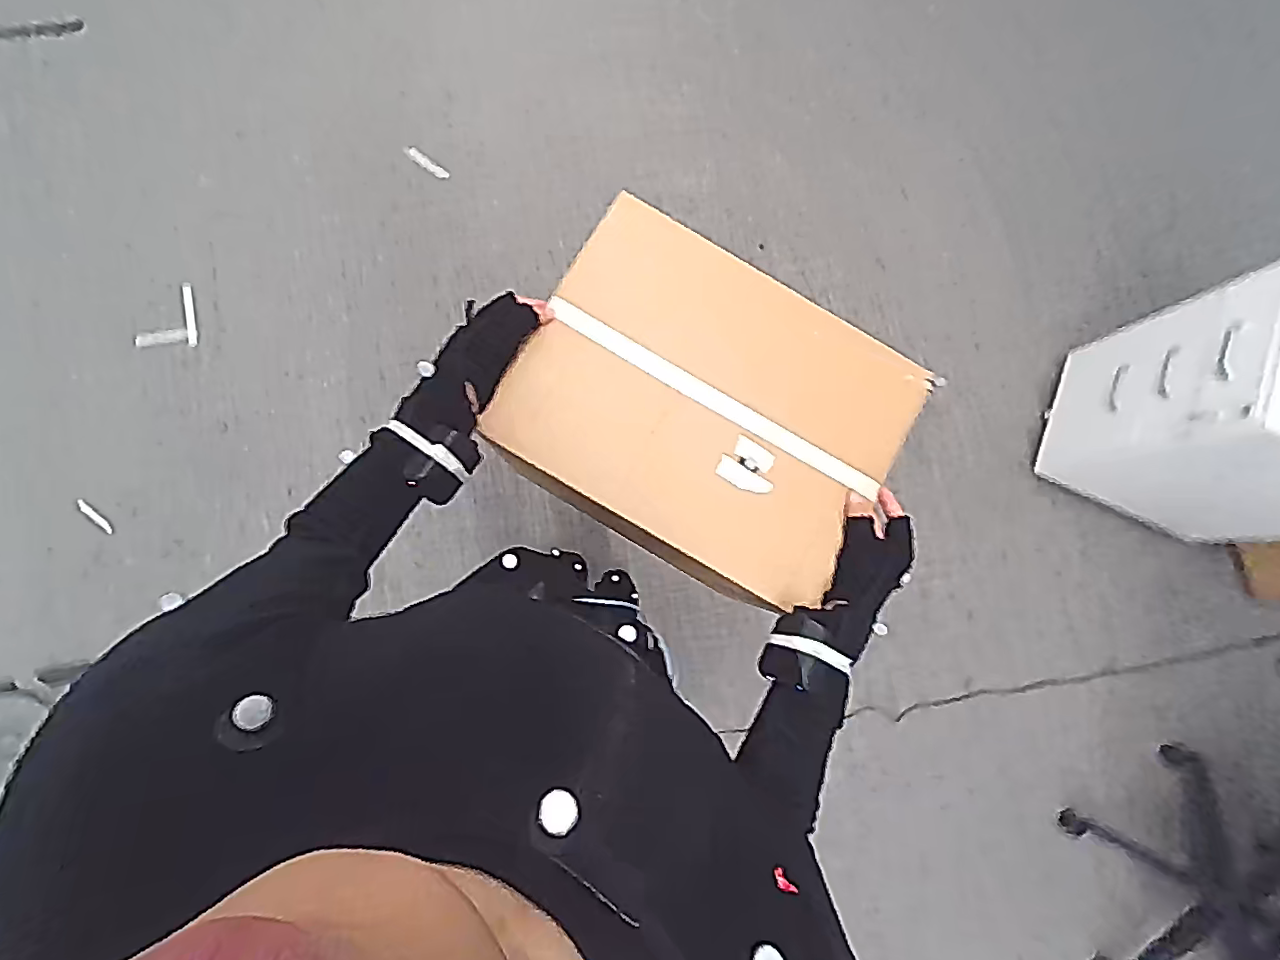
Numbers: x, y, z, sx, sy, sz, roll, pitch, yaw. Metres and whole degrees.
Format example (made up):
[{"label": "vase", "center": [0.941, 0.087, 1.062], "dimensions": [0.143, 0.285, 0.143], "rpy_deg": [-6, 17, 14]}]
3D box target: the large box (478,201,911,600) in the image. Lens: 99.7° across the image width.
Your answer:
[{"label": "large box", "center": [0.055, -0.076, 0.739], "dimensions": [0.408, 0.320, 0.320], "rpy_deg": [29, 82, -2]}]
